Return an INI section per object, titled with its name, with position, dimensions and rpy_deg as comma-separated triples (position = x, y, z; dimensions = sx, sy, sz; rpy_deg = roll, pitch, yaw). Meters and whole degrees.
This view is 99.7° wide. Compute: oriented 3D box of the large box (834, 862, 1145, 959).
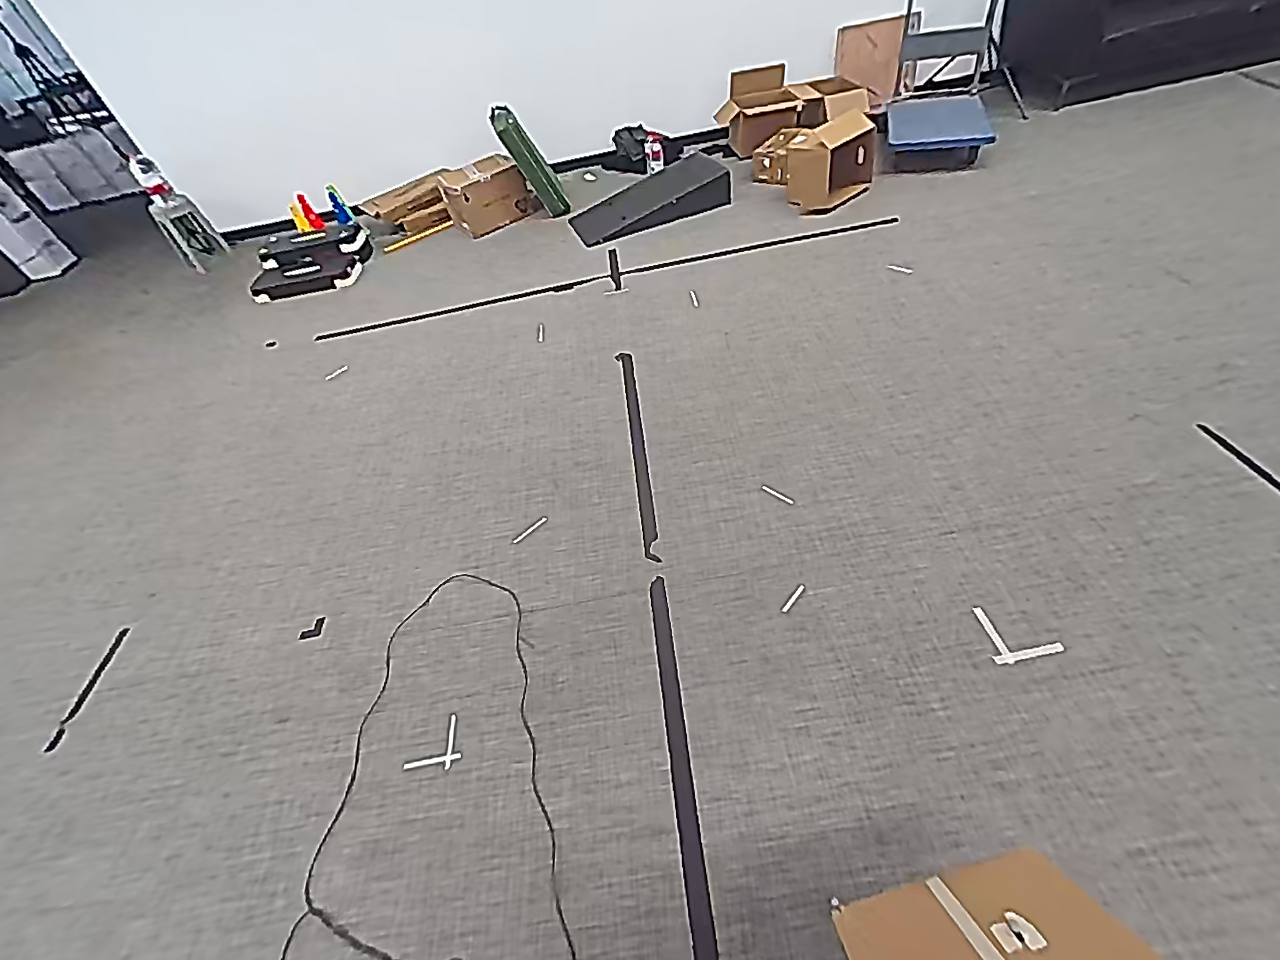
[large box]
position = 0.467, 0.723, 0.581
dimensions = 0.320, 0.408, 0.320
rpy_deg = -17, 82, 1
